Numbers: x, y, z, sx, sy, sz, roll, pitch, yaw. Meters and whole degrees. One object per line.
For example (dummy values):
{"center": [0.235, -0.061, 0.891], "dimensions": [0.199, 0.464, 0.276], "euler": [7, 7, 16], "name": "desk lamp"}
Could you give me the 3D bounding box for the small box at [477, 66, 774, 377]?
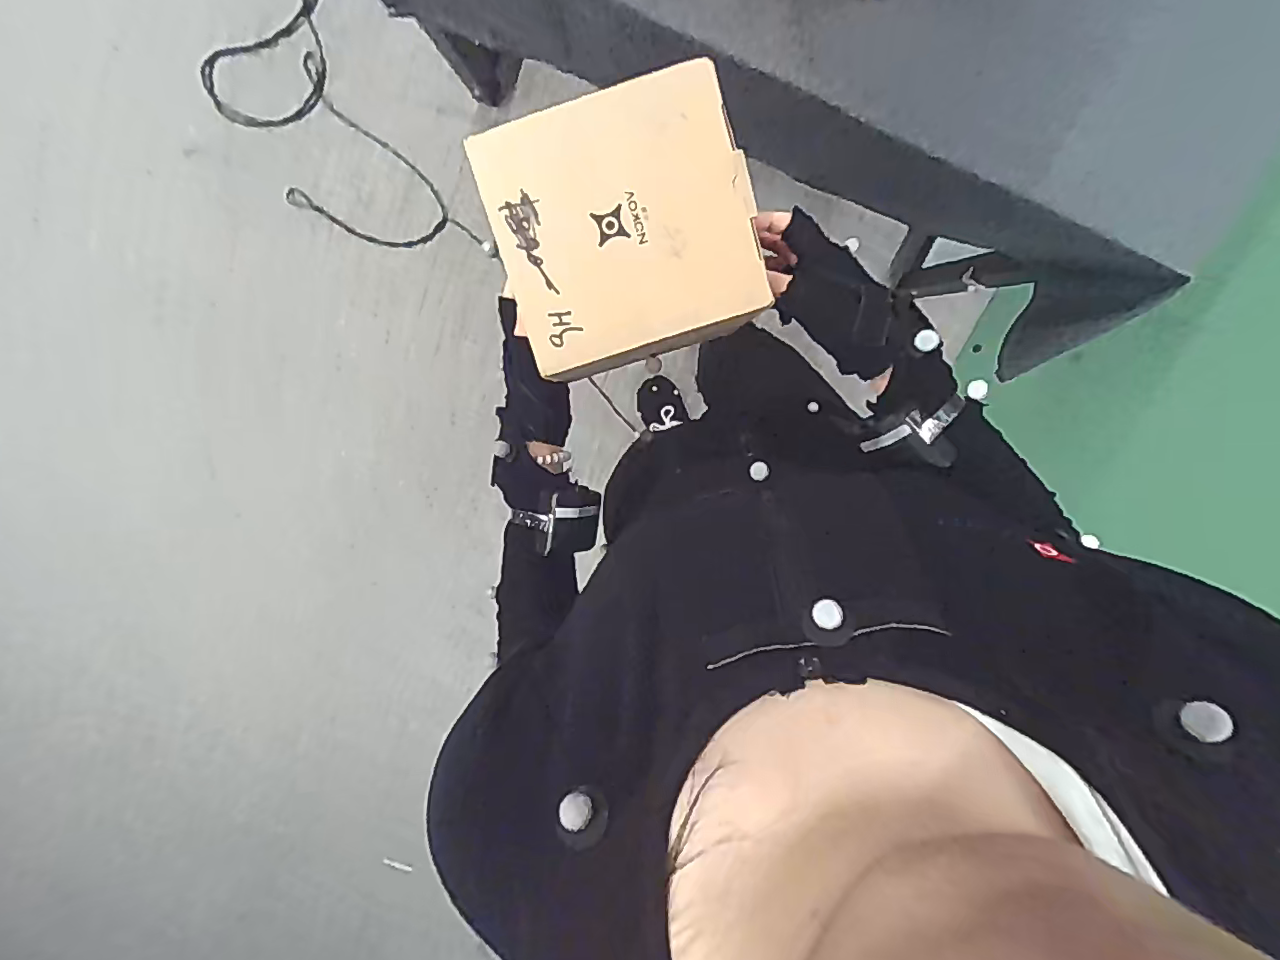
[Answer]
{"center": [-0.010, -0.190, 0.453], "dimensions": [0.179, 0.176, 0.168], "euler": [-16, 97, 1], "name": "small box"}
